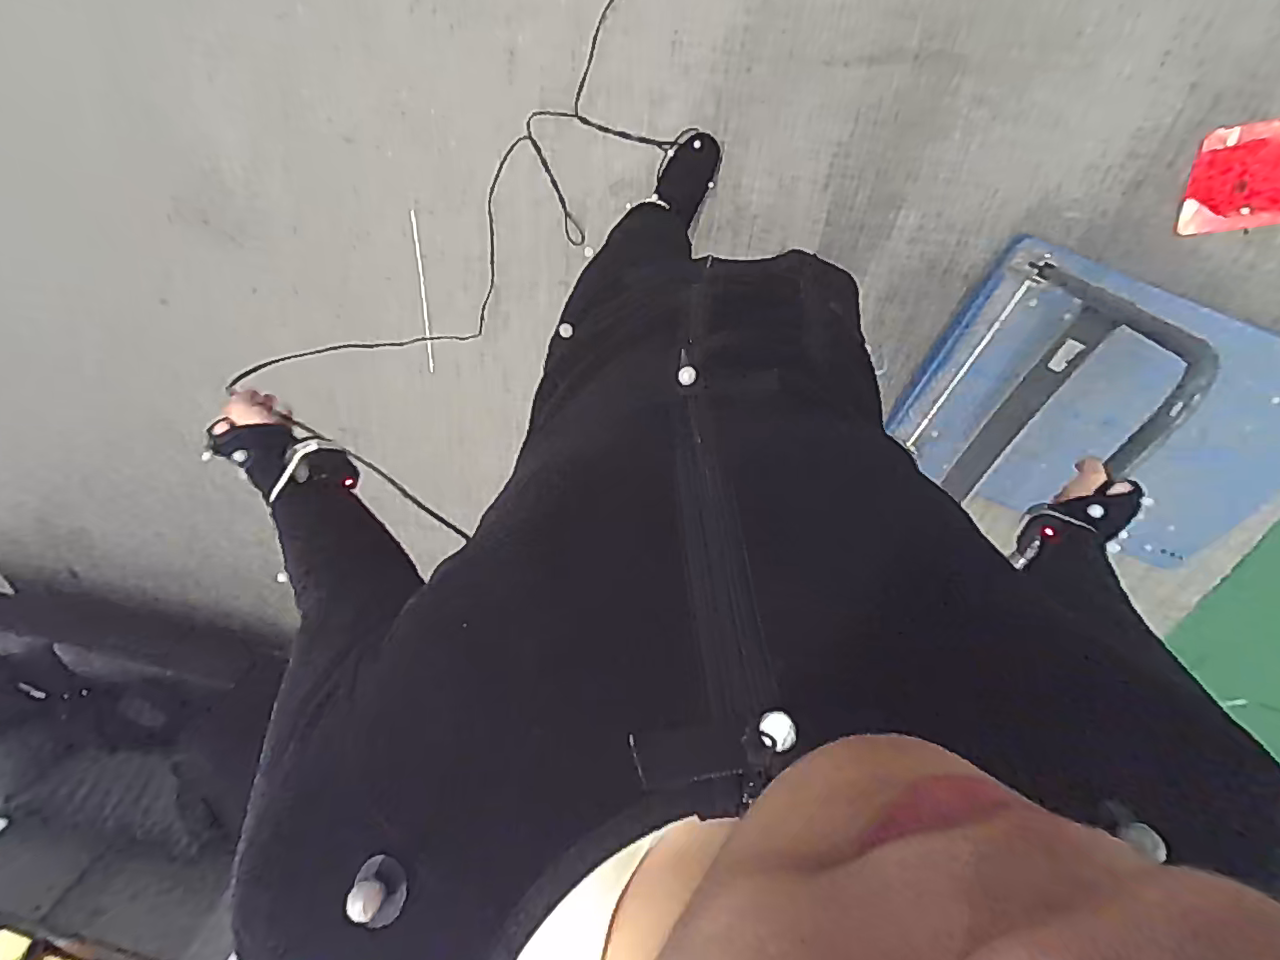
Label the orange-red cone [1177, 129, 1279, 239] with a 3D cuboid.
[{"bbox_3d":[1.238,-0.533,0.990,0.198,0.360,0.199,-1,120,13],"label":"orange-red cone"}]
